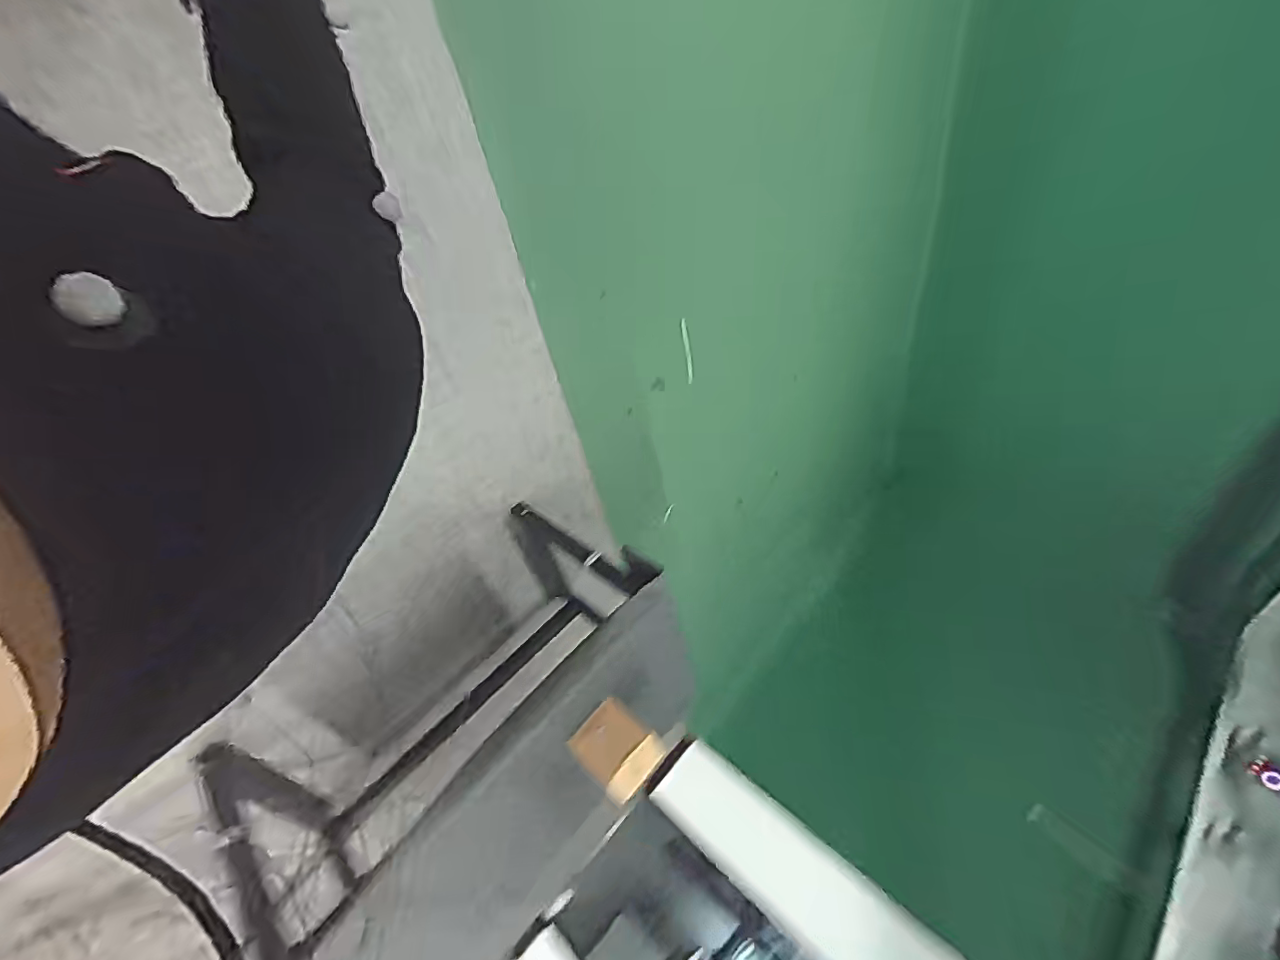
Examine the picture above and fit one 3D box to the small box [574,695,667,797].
[{"bbox_3d":[-0.054,0.734,1.505,0.168,0.176,0.179,-45,139,-23],"label":"small box"}]
